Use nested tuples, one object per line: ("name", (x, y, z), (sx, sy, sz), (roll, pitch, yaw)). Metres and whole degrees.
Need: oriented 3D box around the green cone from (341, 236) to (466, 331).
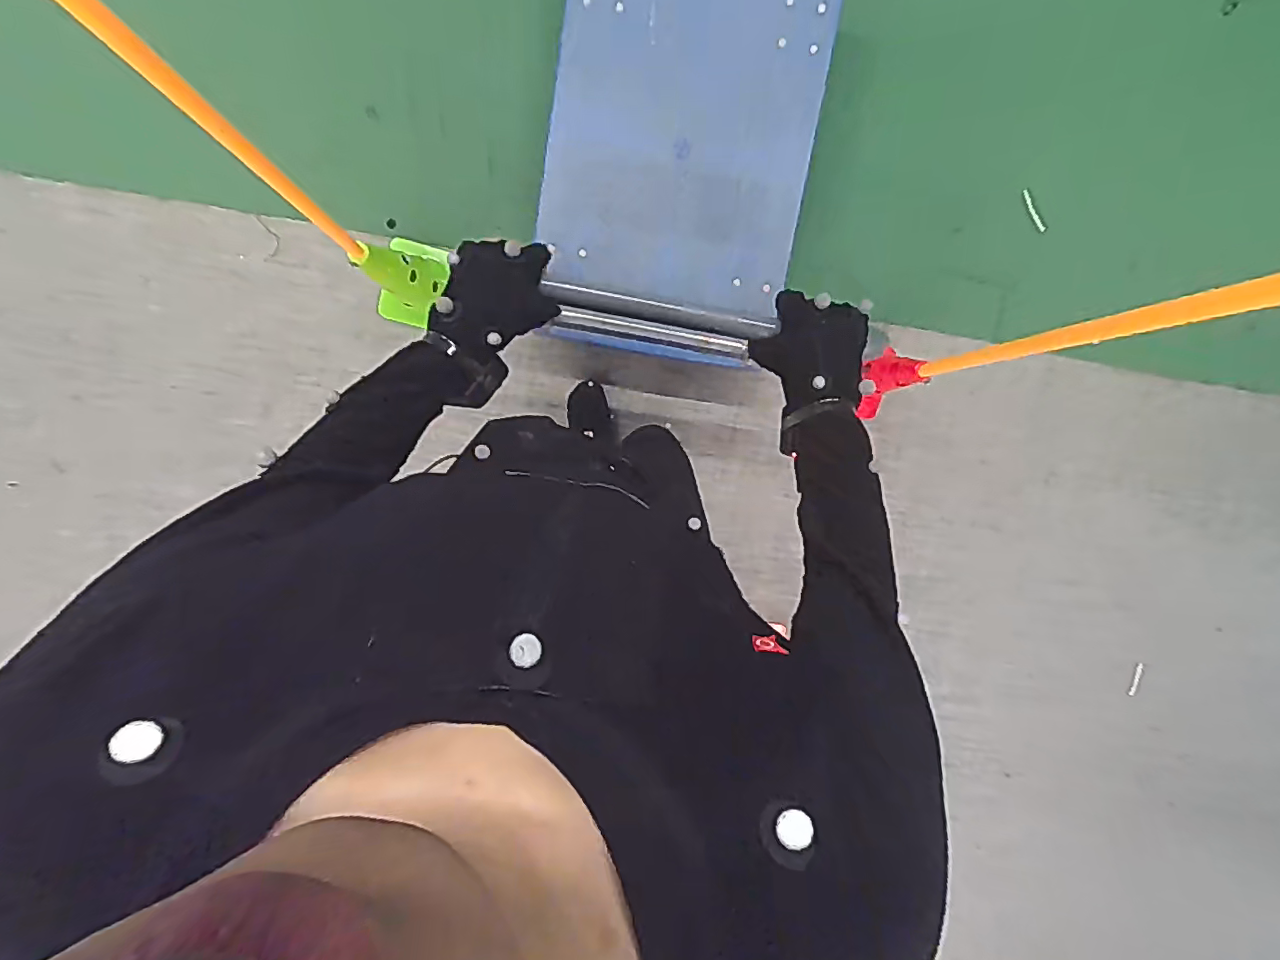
("green cone", (-0.547, -0.471, 1.200), (0.202, 0.368, 0.200), (14, 98, -4))
